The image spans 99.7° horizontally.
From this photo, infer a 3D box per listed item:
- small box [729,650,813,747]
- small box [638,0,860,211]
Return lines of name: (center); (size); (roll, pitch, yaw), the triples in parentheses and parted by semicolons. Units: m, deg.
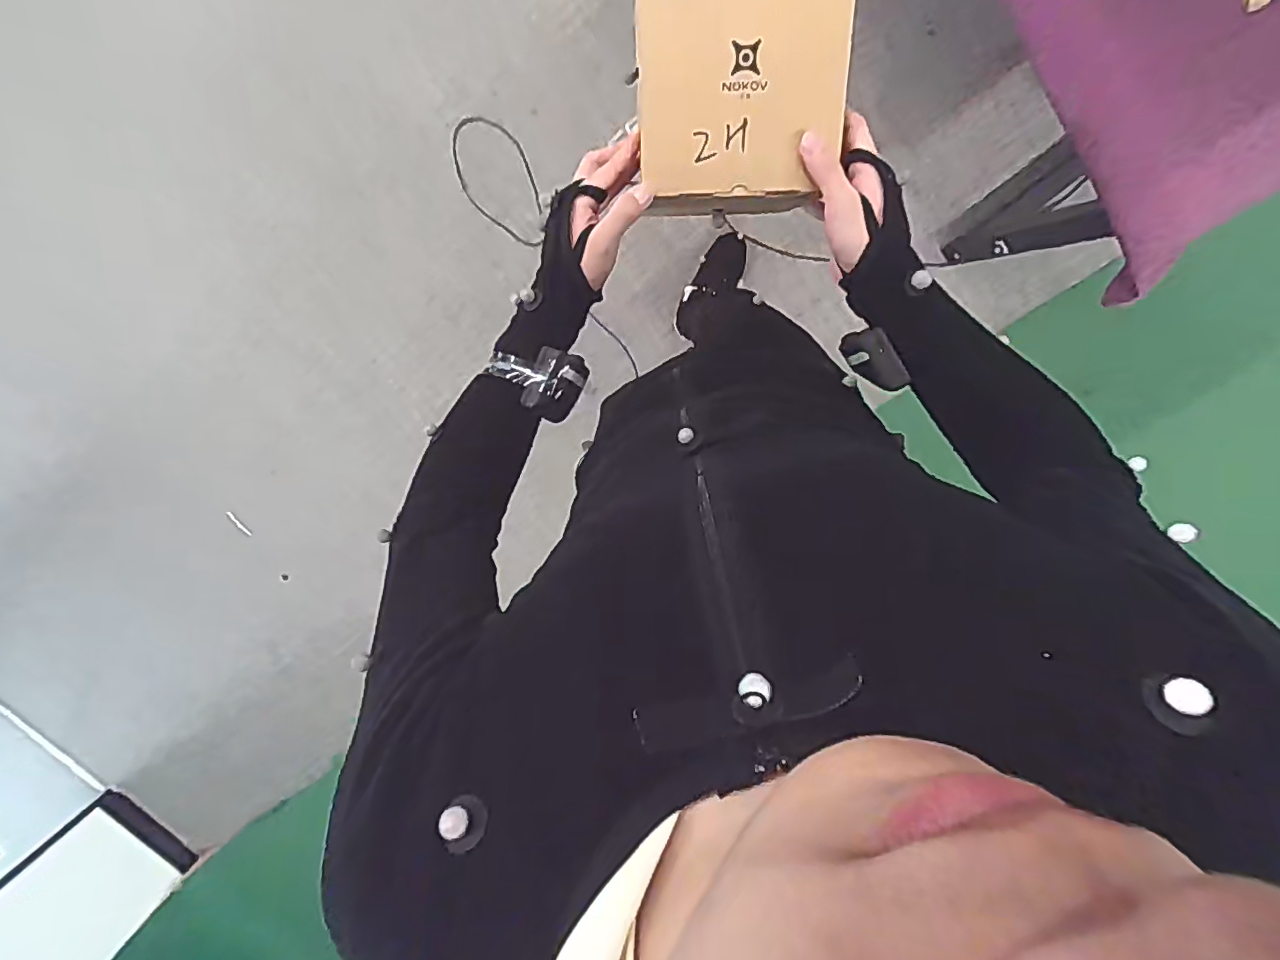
small box: (0.366, 0.614, 1.549); (0.168, 0.176, 0.179); (-31, 102, 15)
small box: (0.082, -0.352, 0.491); (0.168, 0.176, 0.179); (-1, 111, 0)
